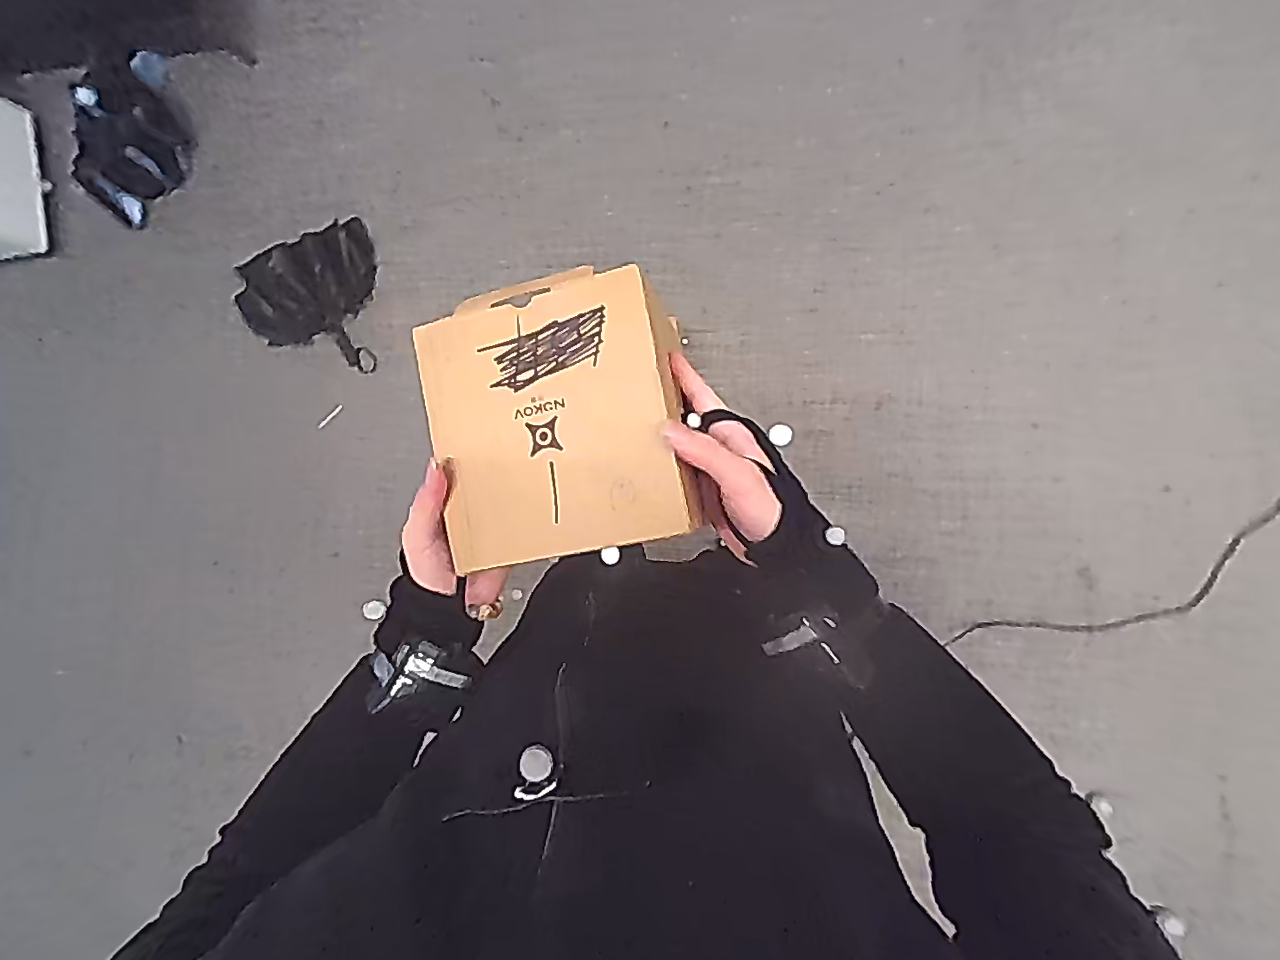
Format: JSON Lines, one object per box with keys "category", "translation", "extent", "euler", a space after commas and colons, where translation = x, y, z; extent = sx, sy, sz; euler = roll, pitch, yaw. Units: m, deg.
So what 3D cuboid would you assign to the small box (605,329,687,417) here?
{"category": "small box", "translation": [0.020, -0.251, 1.299], "extent": [0.168, 0.176, 0.179], "euler": [-4, 93, 11]}
